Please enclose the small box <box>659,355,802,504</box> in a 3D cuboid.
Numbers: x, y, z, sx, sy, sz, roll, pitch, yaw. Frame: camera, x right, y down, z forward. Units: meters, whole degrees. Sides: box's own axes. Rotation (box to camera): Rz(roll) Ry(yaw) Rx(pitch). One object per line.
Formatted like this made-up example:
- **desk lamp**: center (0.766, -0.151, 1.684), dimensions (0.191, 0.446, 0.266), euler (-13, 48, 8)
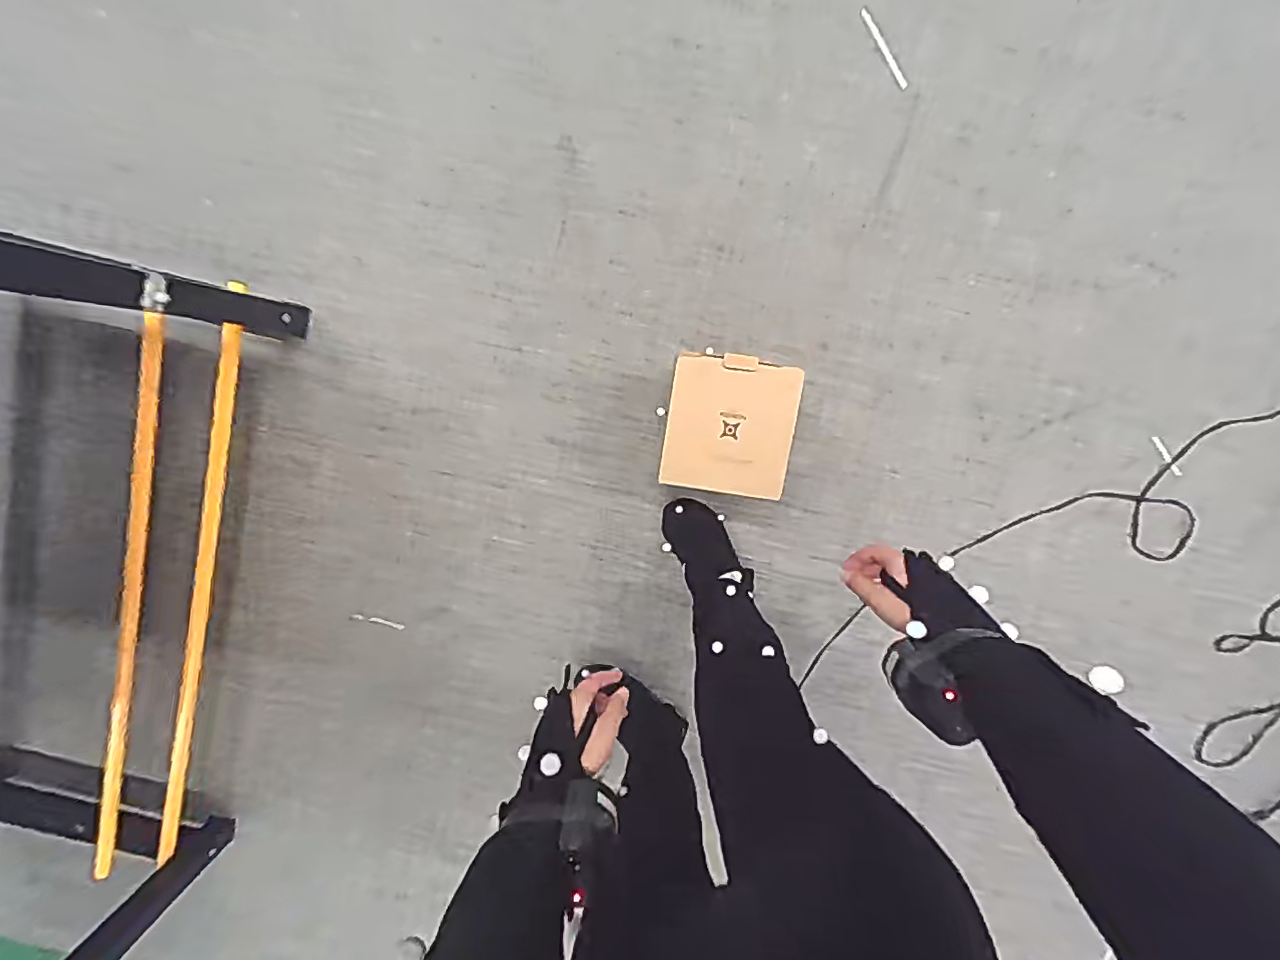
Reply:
- **small box**: center (0.119, -0.076, 0.781), dimensions (0.168, 0.176, 0.179), euler (8, 100, 2)
